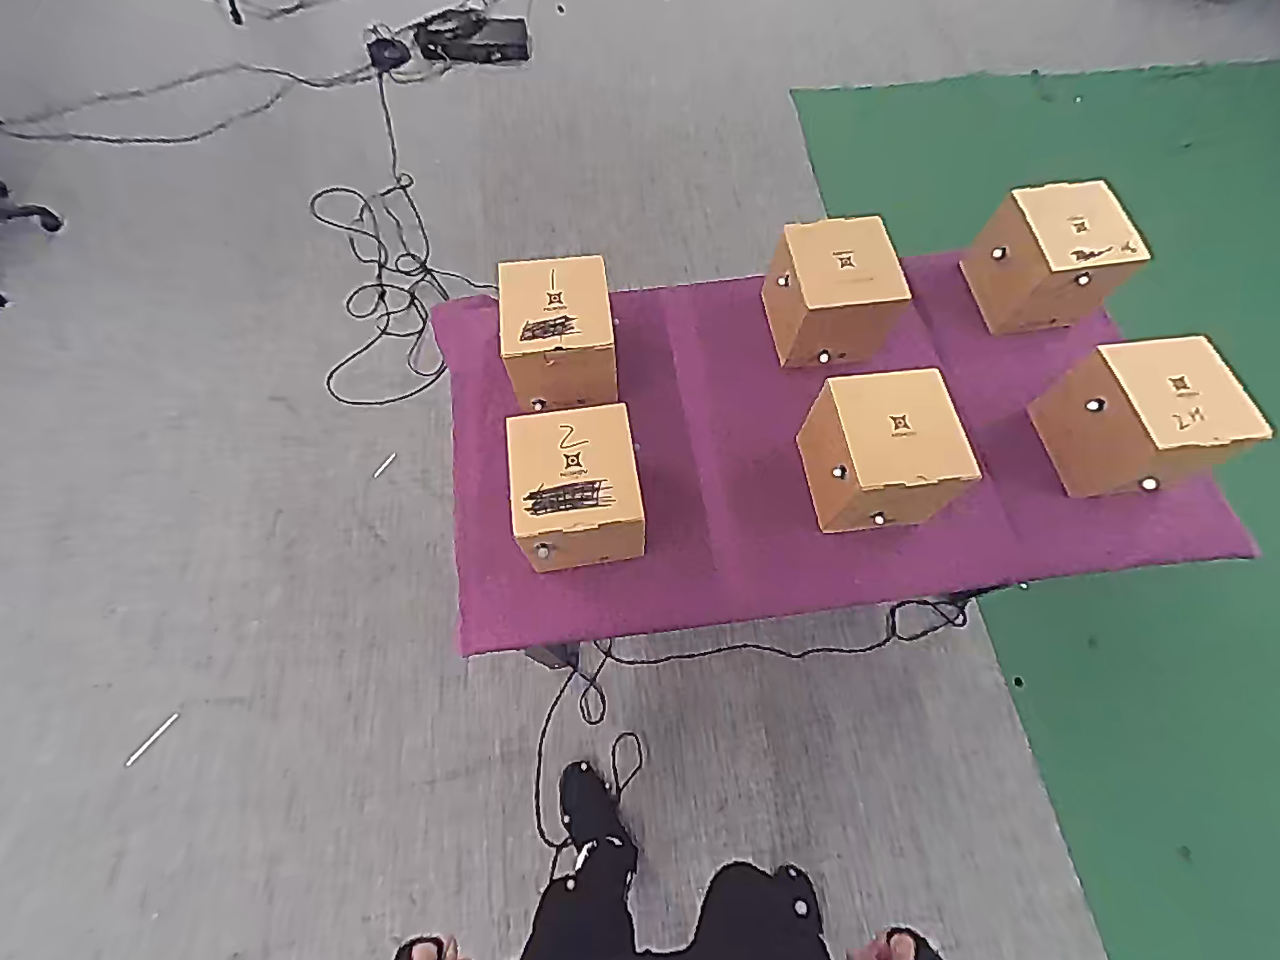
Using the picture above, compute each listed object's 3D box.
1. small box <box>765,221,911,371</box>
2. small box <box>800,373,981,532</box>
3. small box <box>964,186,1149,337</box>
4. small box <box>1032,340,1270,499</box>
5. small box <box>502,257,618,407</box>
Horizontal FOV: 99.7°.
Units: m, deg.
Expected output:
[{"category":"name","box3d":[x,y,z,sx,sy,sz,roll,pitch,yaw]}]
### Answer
[{"category":"small box","box3d":[0.324,-0.310,0.927,0.168,0.176,0.179,-6,68,-3]},{"category":"small box","box3d":[0.354,-0.036,0.807,0.168,0.176,0.179,-5,66,-3]},{"category":"small box","box3d":[0.715,-0.379,0.955,0.168,0.176,0.179,-7,68,-1]},{"category":"small box","box3d":[0.755,-0.087,0.827,0.168,0.176,0.179,-6,65,-1]},{"category":"small box","box3d":[-0.125,-0.231,0.886,0.168,0.176,0.179,-6,67,-4]}]
